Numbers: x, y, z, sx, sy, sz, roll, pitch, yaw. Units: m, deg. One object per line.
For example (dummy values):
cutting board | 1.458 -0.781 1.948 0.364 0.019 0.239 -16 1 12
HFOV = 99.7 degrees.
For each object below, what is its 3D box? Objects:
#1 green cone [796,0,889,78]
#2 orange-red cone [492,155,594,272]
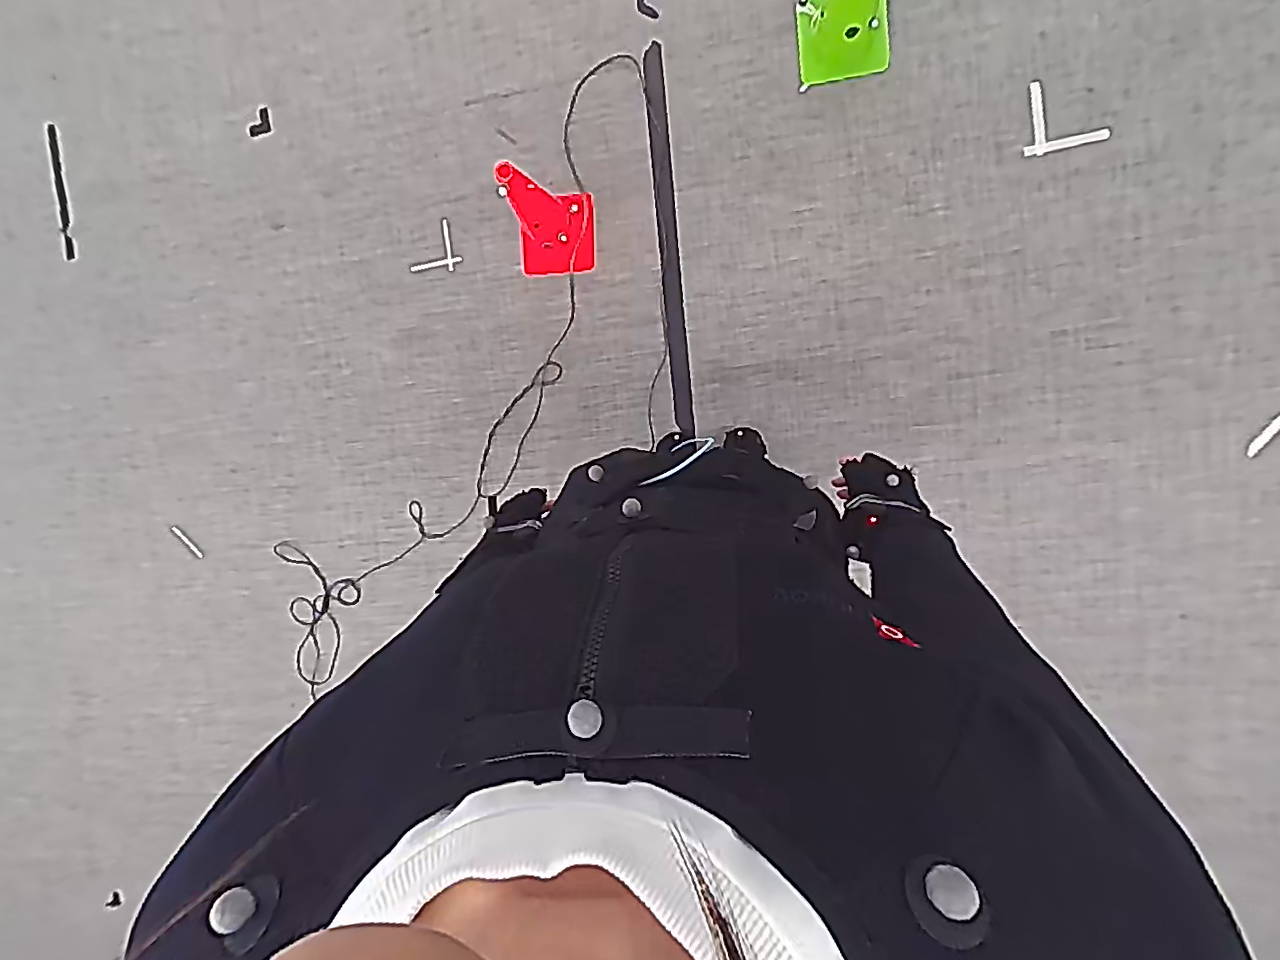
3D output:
green cone | 0.445 -1.035 1.088 0.202 0.368 0.200 -5 94 9
orange-red cone | -0.248 -0.637 1.244 0.199 0.360 0.198 0 94 11
